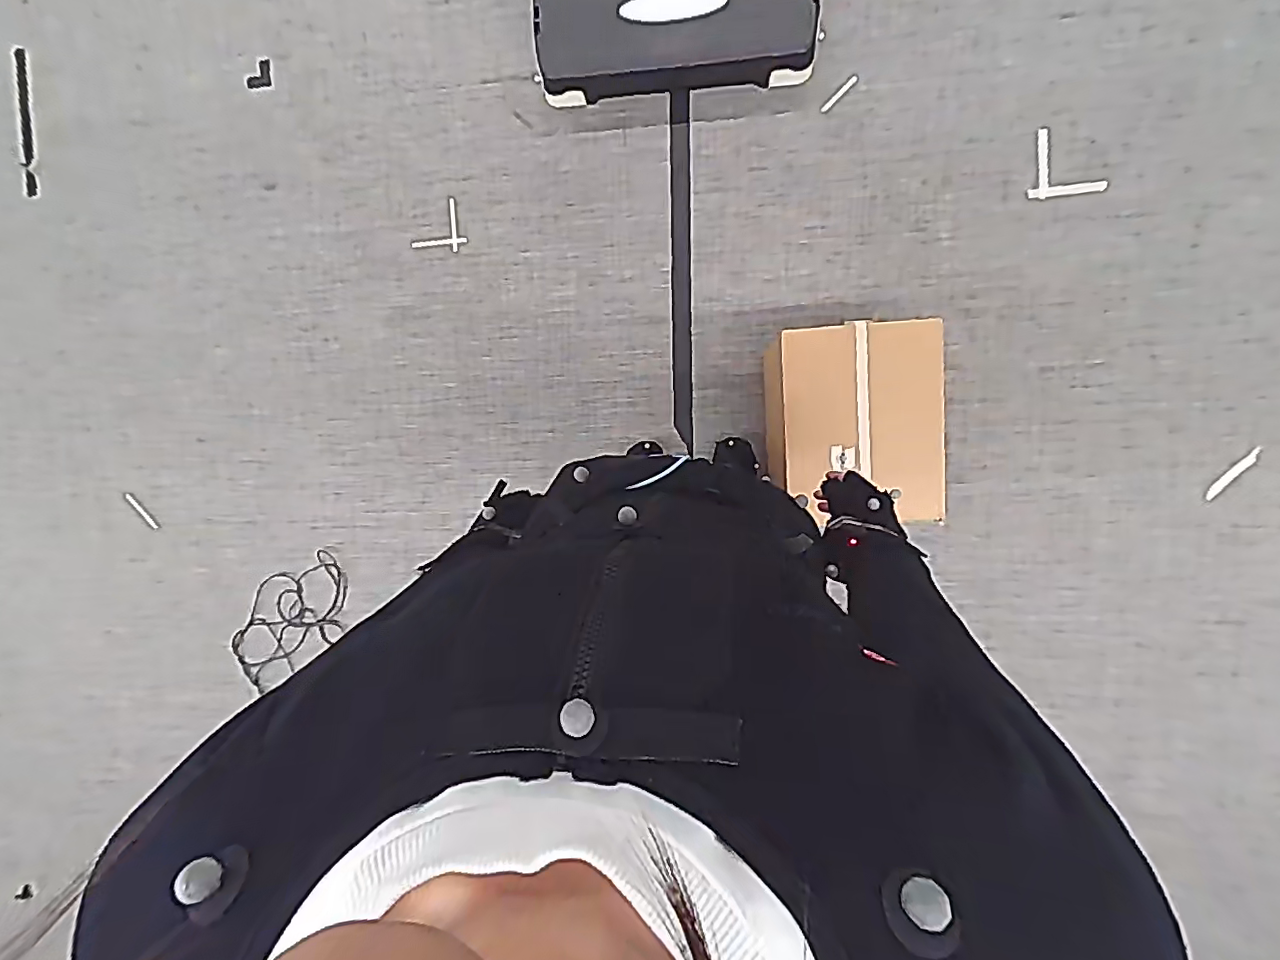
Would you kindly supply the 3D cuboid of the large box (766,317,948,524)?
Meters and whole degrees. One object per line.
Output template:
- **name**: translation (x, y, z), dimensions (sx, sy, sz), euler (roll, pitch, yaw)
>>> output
- **large box**: translation (0.473, -0.130, 1.238), dimensions (0.320, 0.320, 0.408), euler (-3, 95, 7)
